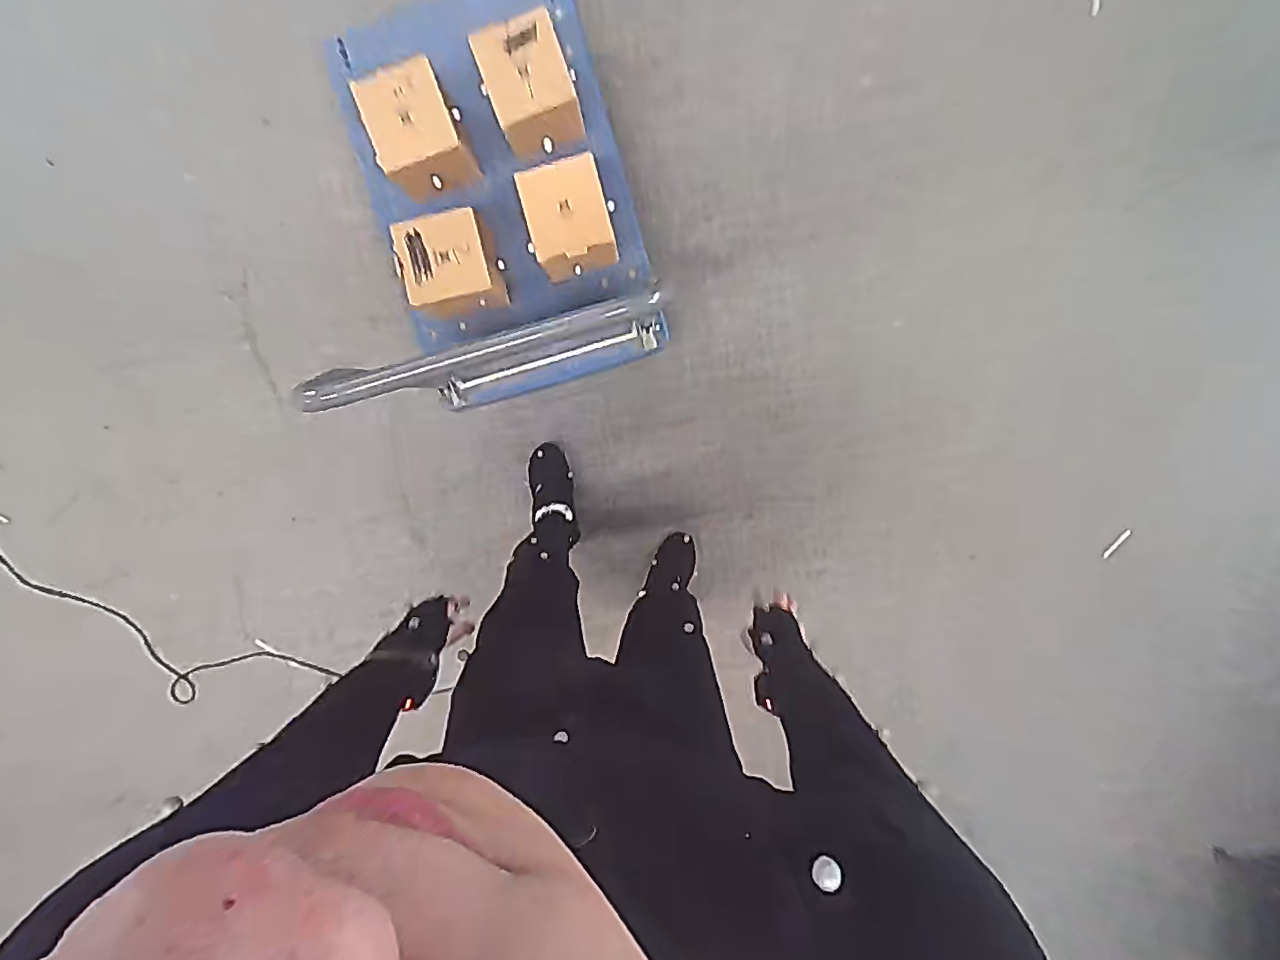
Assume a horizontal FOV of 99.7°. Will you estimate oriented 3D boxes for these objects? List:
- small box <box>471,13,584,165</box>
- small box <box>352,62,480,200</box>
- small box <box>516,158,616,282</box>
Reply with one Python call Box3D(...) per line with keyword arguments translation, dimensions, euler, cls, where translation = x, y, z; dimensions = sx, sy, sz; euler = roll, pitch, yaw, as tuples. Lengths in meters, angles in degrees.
Box3D(translation=(-0.228, -0.810, 1.139), dimensions=(0.168, 0.176, 0.179), euler=(-19, 98, 4), cls="small box")
Box3D(translation=(-0.464, -0.724, 1.152), dimensions=(0.168, 0.176, 0.179), euler=(-20, 97, 2), cls="small box")
Box3D(translation=(-0.152, -0.553, 1.173), dimensions=(0.168, 0.176, 0.179), euler=(-15, 97, 2), cls="small box")
